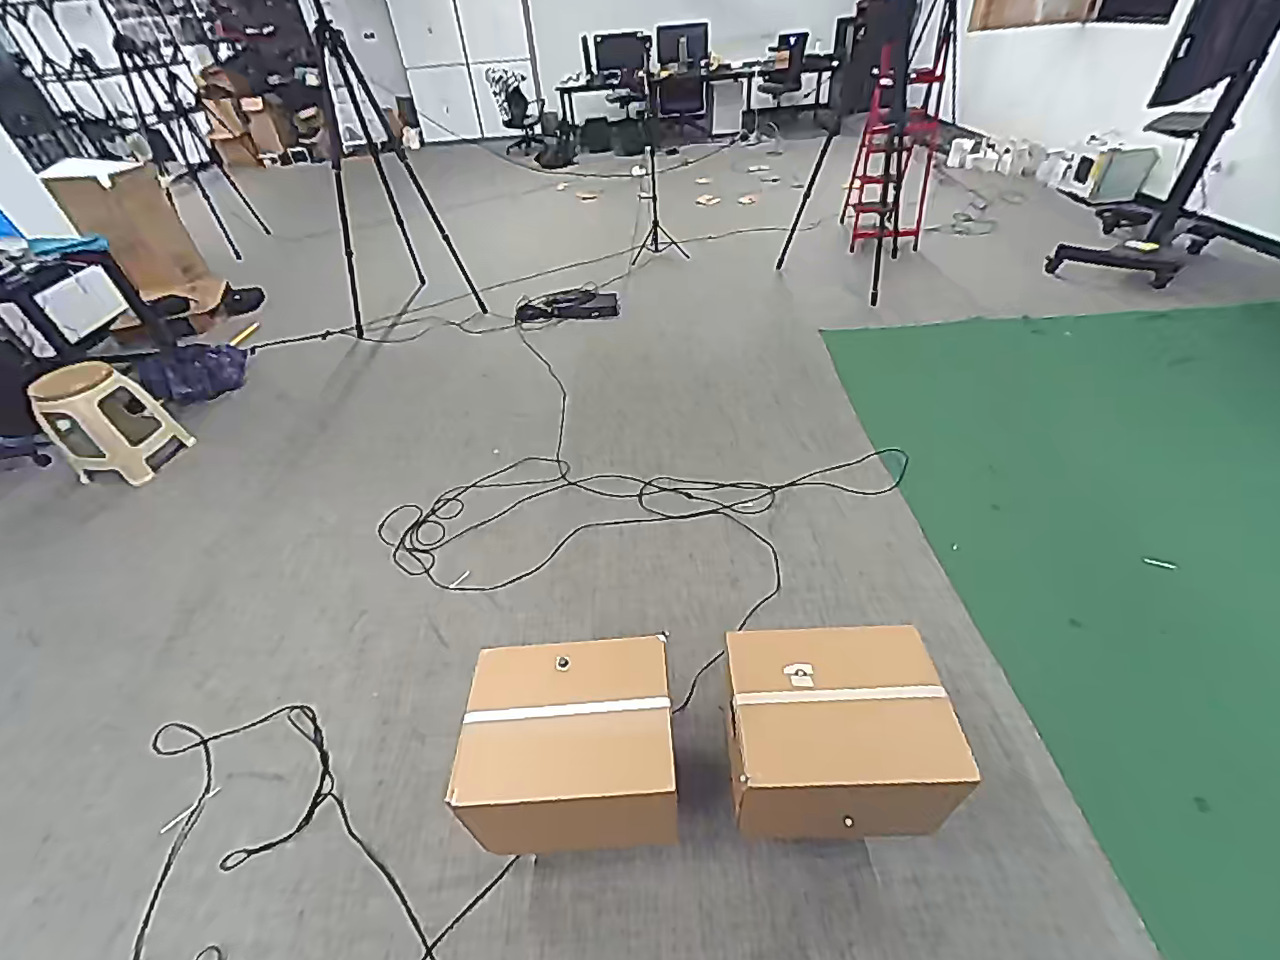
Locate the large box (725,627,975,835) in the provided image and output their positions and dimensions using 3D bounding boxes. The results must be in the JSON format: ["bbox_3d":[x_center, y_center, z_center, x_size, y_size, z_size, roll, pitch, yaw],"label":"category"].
[{"bbox_3d":[0.403,0.540,1.160,0.408,0.320,0.320,-3,41,3],"label":"large box"}]
